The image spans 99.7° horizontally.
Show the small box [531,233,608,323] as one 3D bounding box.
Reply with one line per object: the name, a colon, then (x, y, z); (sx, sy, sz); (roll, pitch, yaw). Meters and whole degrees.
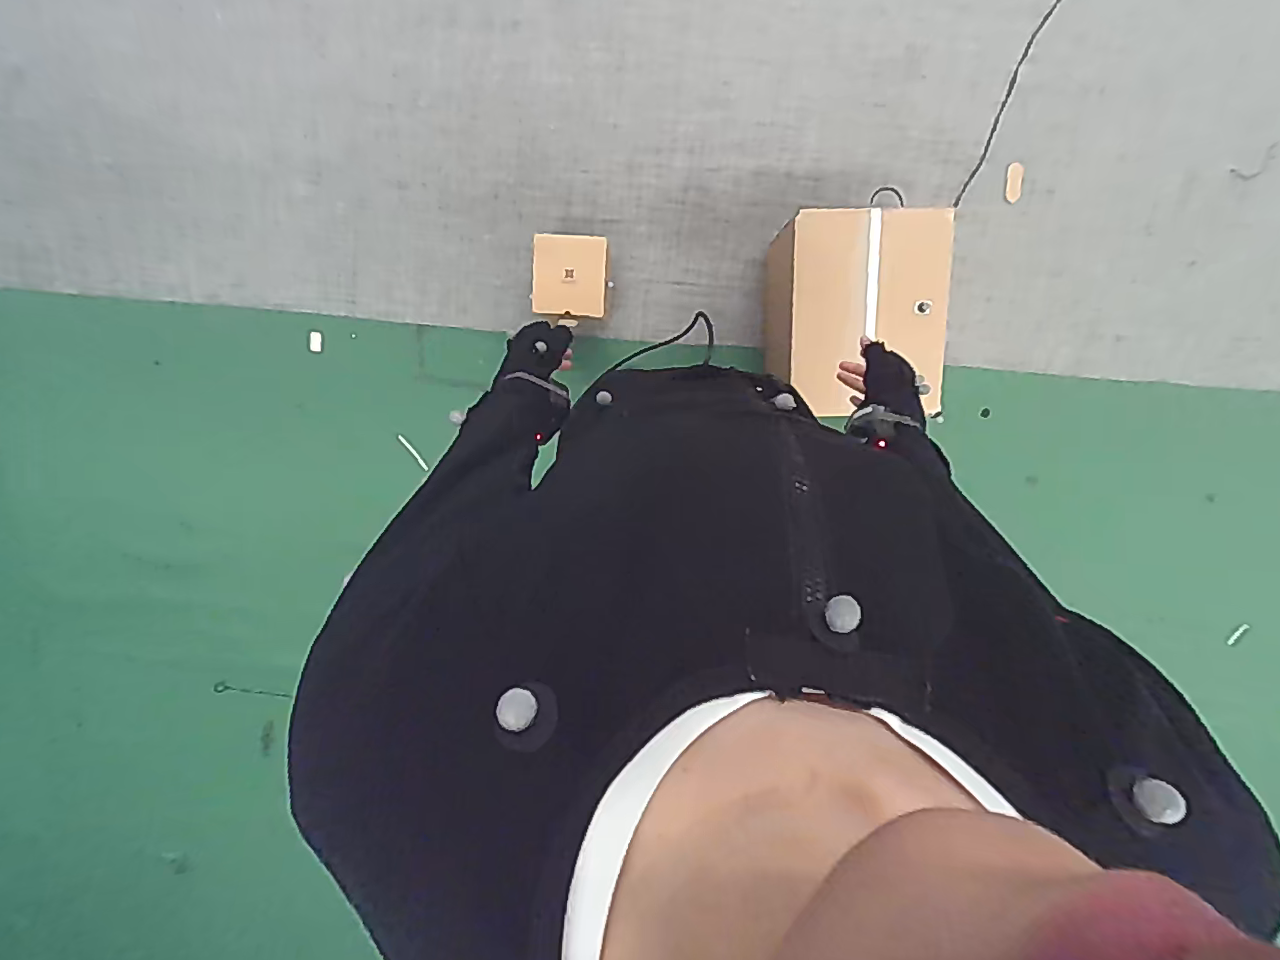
small box: (-0.166, -0.480, 1.306); (0.168, 0.176, 0.179); (3, 103, 0)
